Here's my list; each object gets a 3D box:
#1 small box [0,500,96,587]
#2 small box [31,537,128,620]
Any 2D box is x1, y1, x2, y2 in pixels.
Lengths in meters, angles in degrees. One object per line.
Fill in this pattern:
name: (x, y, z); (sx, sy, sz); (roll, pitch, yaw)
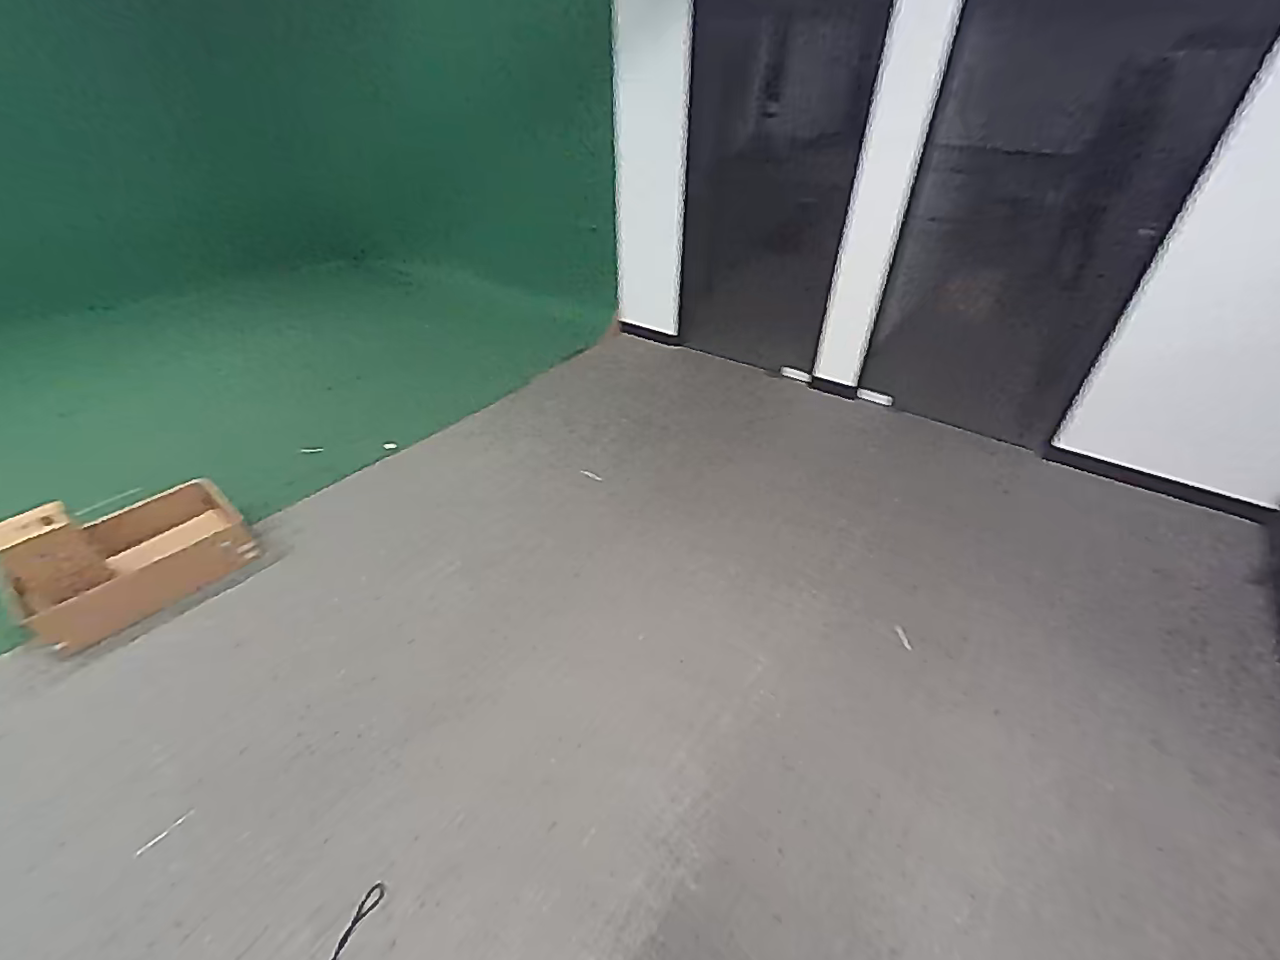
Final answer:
small box: (-1.862, 0.199, 1.691); (0.168, 0.176, 0.179); (28, 45, 30)
small box: (-1.869, 0.328, 1.793); (0.168, 0.176, 0.179); (27, 43, 29)
